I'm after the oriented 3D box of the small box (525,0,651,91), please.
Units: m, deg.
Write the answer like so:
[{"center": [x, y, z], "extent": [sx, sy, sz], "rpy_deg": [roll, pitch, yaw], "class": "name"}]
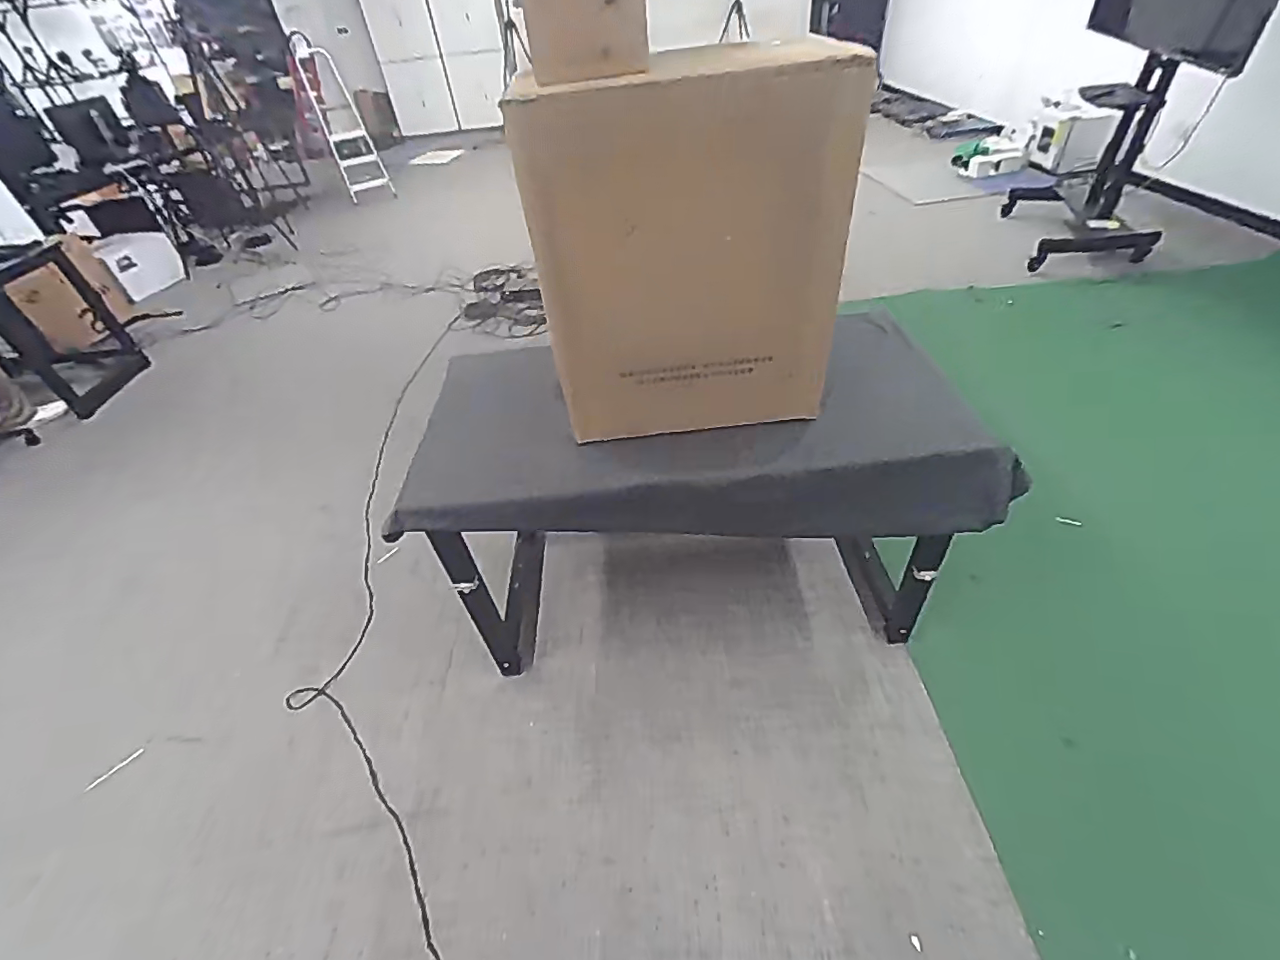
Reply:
[{"center": [-0.075, -0.679, 0.785], "extent": [0.168, 0.176, 0.179], "rpy_deg": [-6, 43, -1], "class": "small box"}]
